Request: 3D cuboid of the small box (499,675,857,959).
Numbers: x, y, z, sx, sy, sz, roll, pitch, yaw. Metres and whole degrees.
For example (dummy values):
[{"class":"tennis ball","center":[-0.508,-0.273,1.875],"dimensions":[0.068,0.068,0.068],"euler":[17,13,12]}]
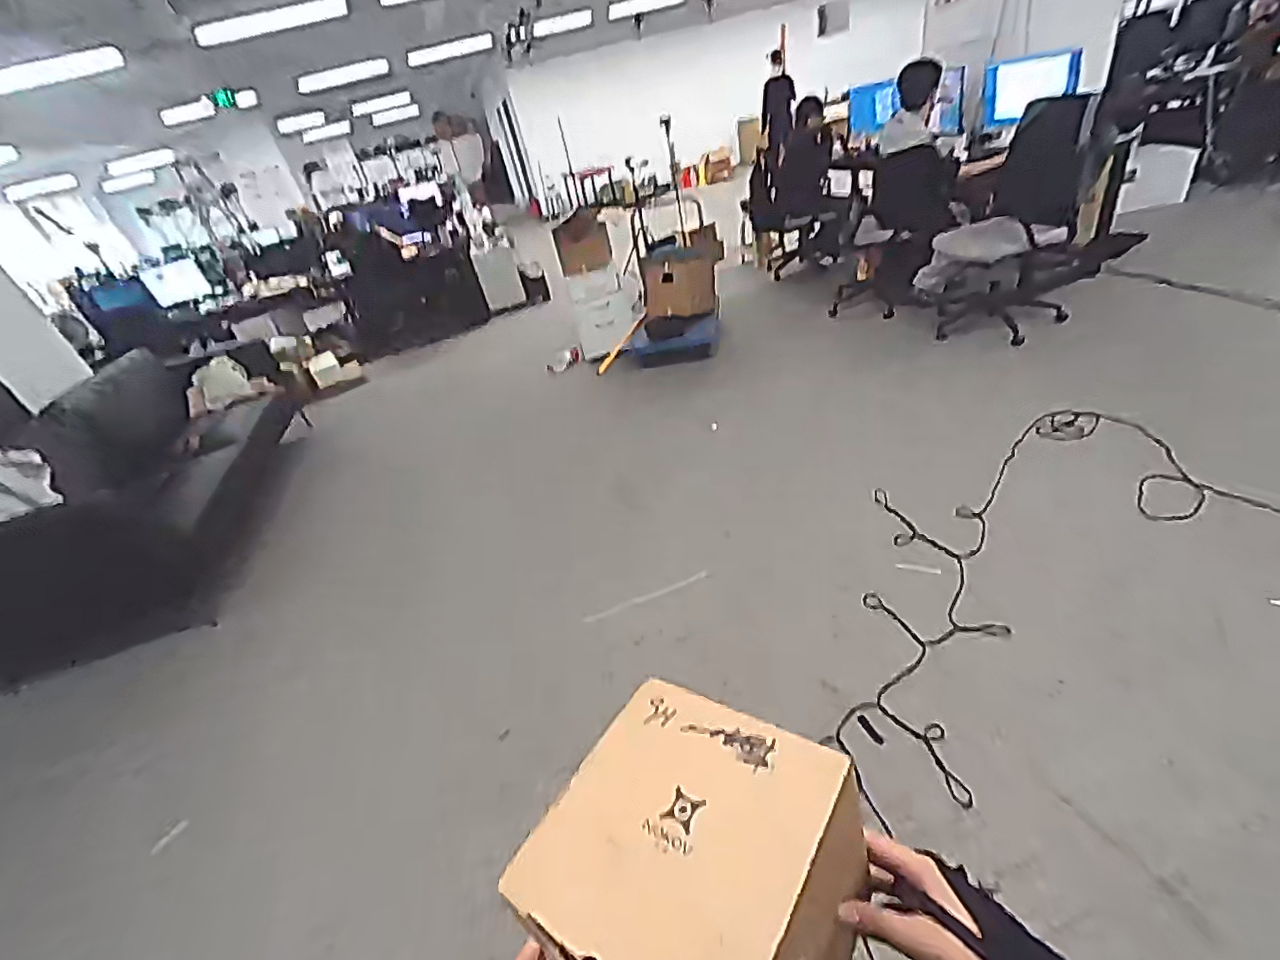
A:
[{"class":"small box","center":[0.042,0.282,0.382],"dimensions":[0.168,0.176,0.179],"euler":[7,37,39]}]
